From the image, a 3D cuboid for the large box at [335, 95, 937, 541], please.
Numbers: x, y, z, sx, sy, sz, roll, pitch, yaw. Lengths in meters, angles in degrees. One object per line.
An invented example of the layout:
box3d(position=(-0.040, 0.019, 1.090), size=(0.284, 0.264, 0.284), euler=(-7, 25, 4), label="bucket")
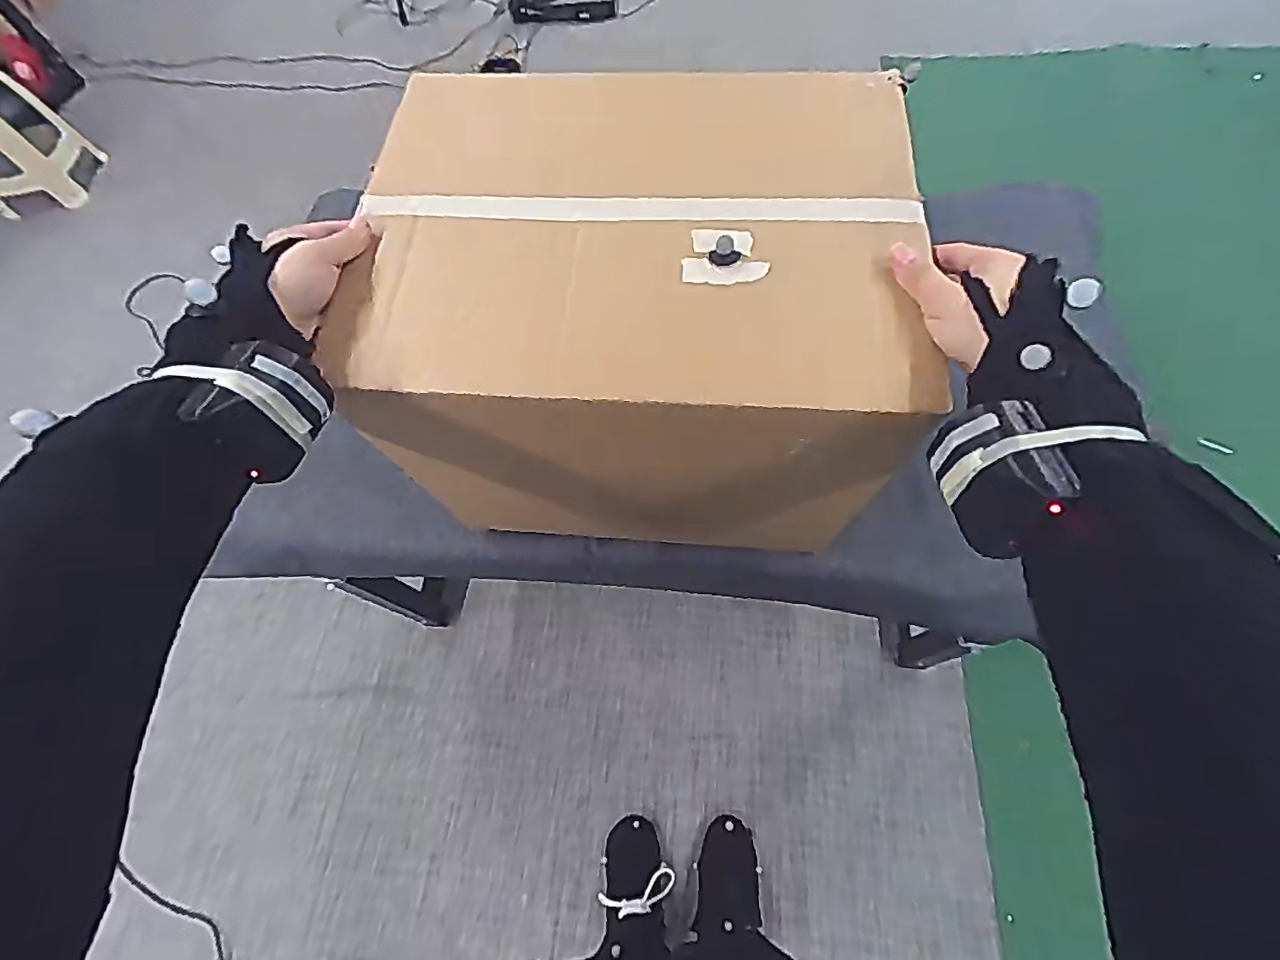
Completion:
box3d(position=(0.004, -0.134, 0.545), size=(0.408, 0.320, 0.320), euler=(3, 68, 4), label="large box")
